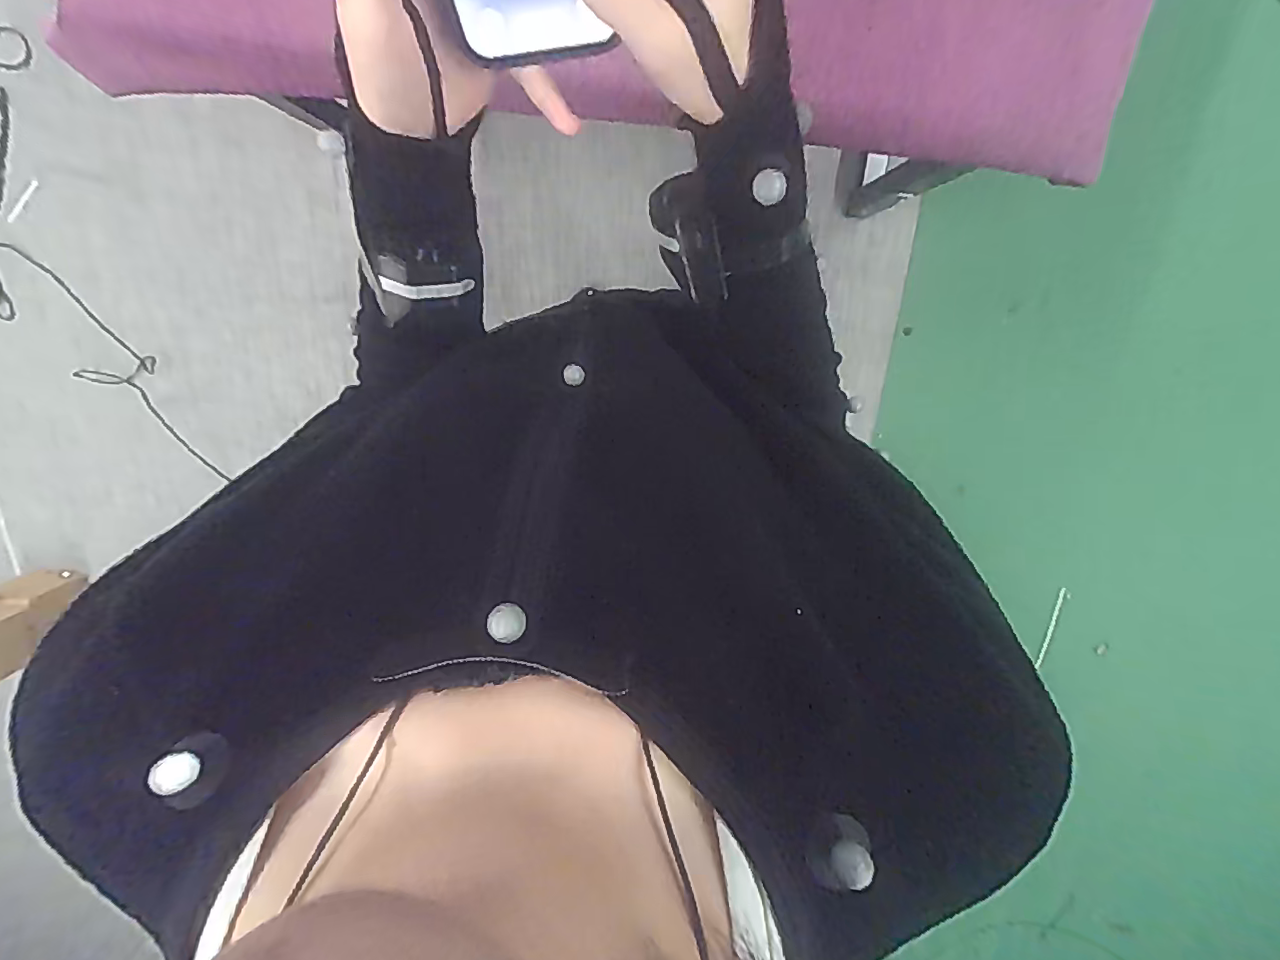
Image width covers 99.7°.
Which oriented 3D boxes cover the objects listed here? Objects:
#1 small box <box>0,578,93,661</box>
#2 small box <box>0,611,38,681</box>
[{"bbox_3d":[-1.779,0.403,1.584,0.168,0.176,0.179,4,108,0],"label":"small box"},{"bbox_3d":[-1.781,0.457,1.429,0.179,0.176,0.168,5,108,0],"label":"small box"}]
